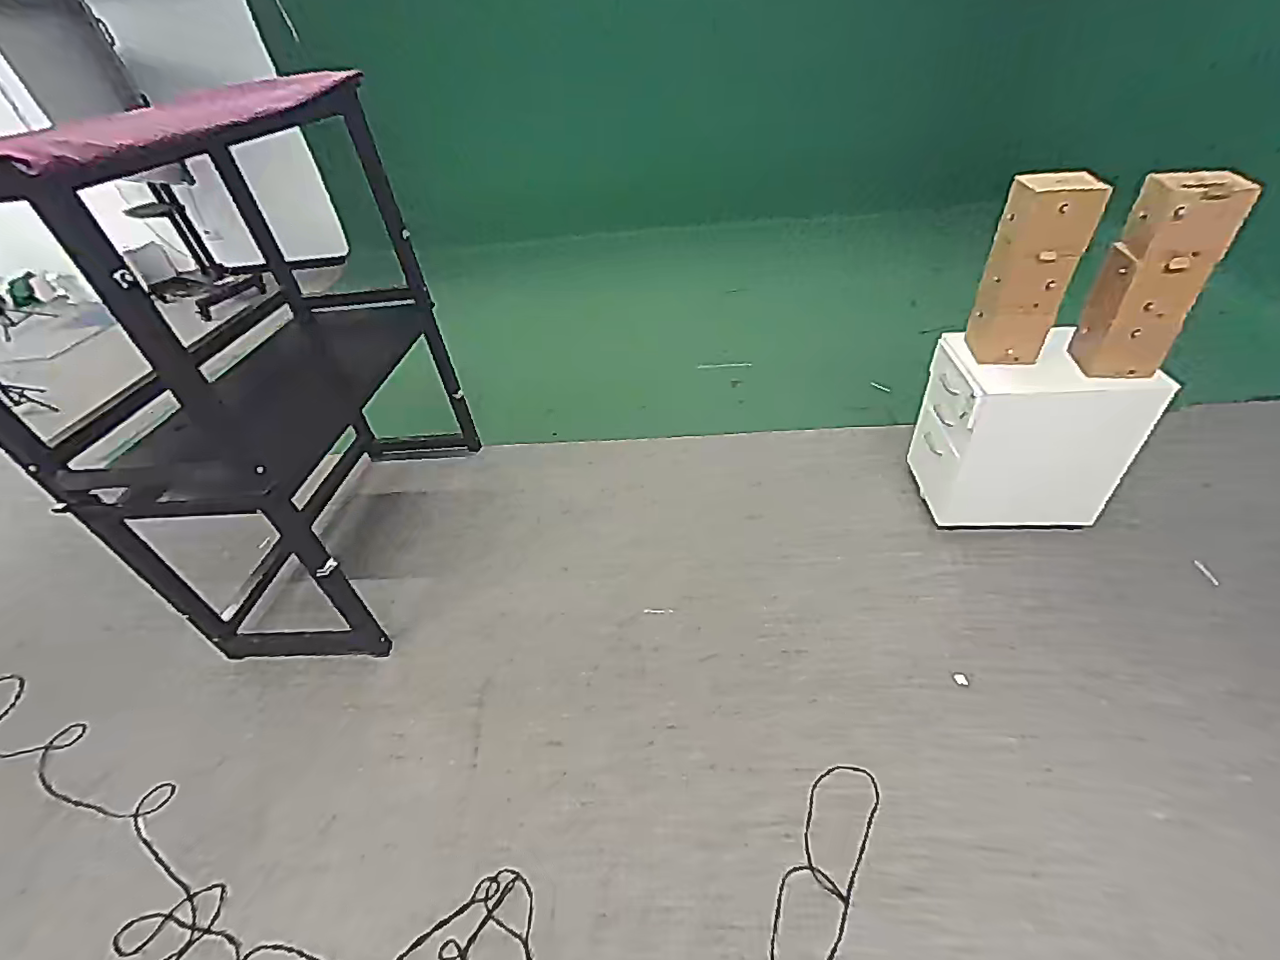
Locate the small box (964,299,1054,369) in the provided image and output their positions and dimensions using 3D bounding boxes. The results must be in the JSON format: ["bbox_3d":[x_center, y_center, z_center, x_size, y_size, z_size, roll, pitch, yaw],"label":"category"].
[{"bbox_3d":[1.149,-0.466,1.701,0.168,0.176,0.179,3,42,12],"label":"small box"}]

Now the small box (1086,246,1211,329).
[{"bbox_3d":[1.382,-0.530,1.489,0.168,0.176,0.179,3,41,13],"label":"small box"}]

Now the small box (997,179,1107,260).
[{"bbox_3d":[1.120,-0.716,1.492,0.179,0.176,0.168,3,42,10],"label":"small box"}]

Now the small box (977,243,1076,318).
[{"bbox_3d":[1.131,-0.591,1.599,0.168,0.176,0.179,4,41,10],"label":"small box"}]

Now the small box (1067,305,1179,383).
[{"bbox_3d":[1.402,-0.403,1.588,0.168,0.176,0.179,3,40,13],"label":"small box"}]
